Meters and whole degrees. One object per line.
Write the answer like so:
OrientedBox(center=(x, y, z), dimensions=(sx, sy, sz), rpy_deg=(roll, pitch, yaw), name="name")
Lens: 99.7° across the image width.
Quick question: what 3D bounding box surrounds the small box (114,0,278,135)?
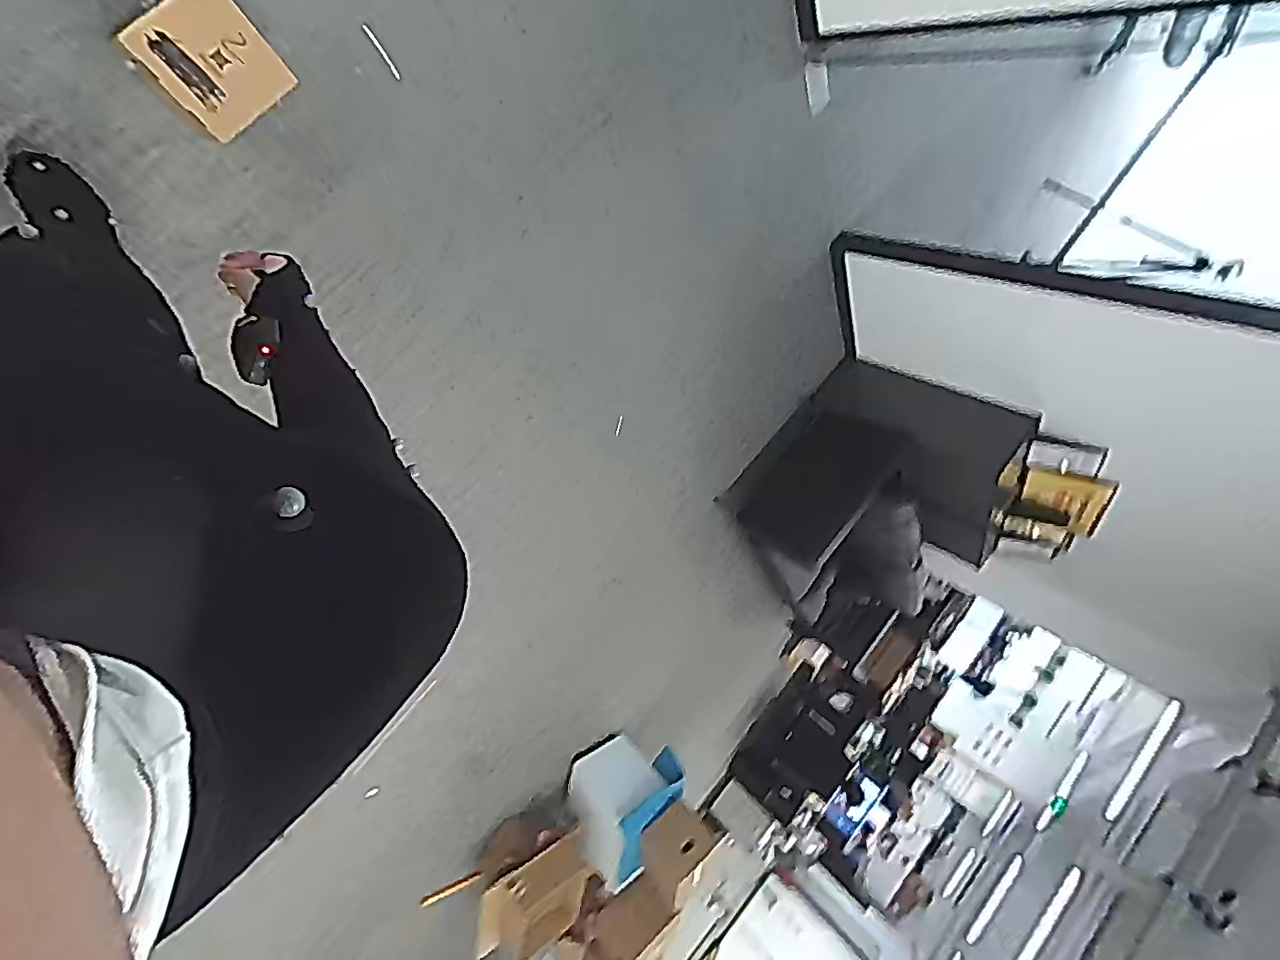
OrientedBox(center=(-0.844, -0.791, 1.027), dimensions=(0.168, 0.176, 0.179), rpy_deg=(-48, 141, -10), name="small box")
